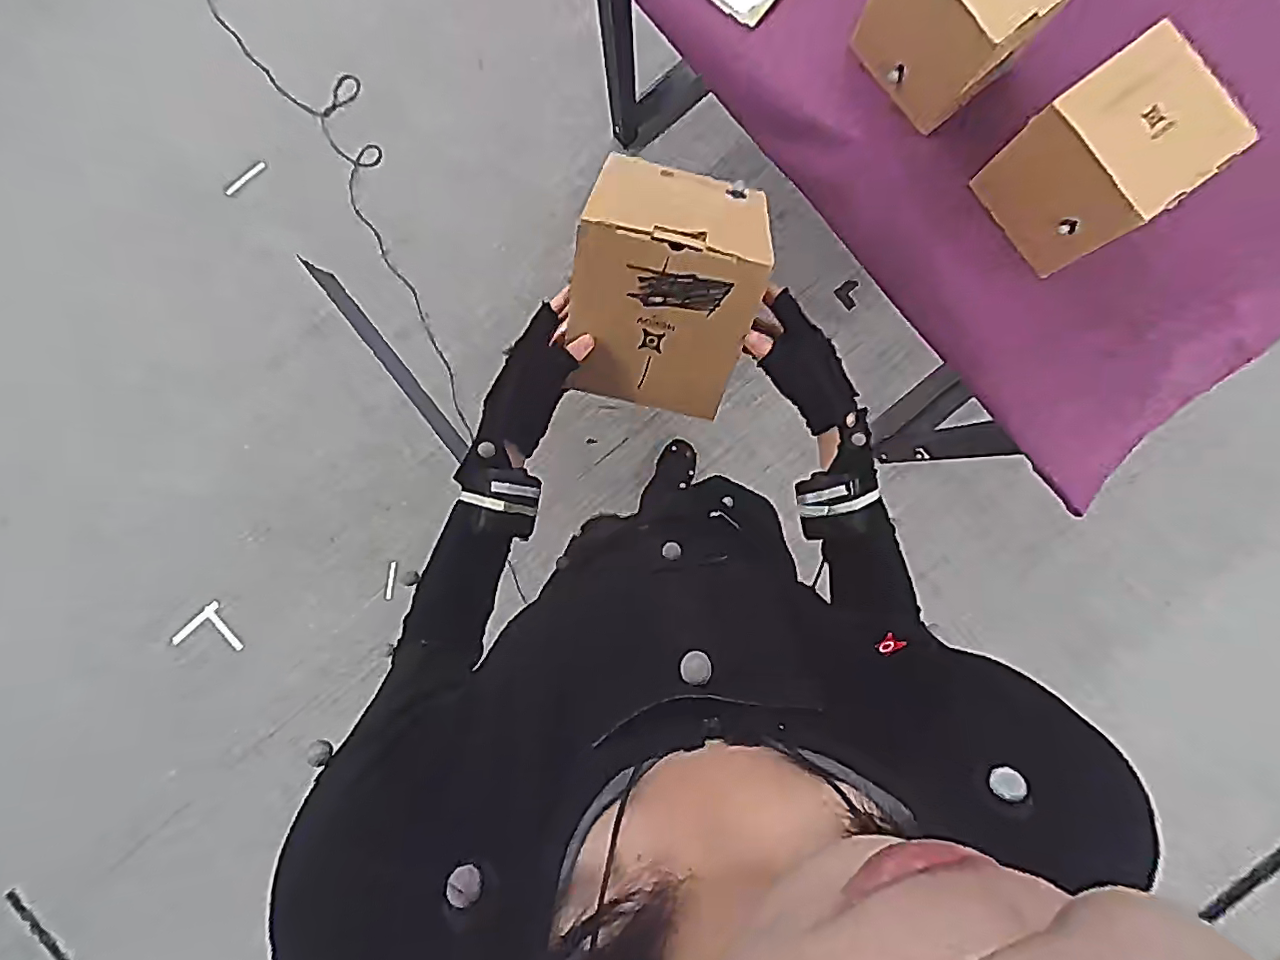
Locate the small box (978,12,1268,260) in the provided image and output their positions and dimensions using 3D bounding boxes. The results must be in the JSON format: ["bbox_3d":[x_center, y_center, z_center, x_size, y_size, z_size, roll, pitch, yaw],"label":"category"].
[{"bbox_3d":[0.584,-0.407,0.682,0.168,0.176,0.179,-36,88,-1],"label":"small box"}]

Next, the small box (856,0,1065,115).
[{"bbox_3d":[0.416,-0.612,0.686,0.168,0.176,0.179,-40,90,1],"label":"small box"}]
